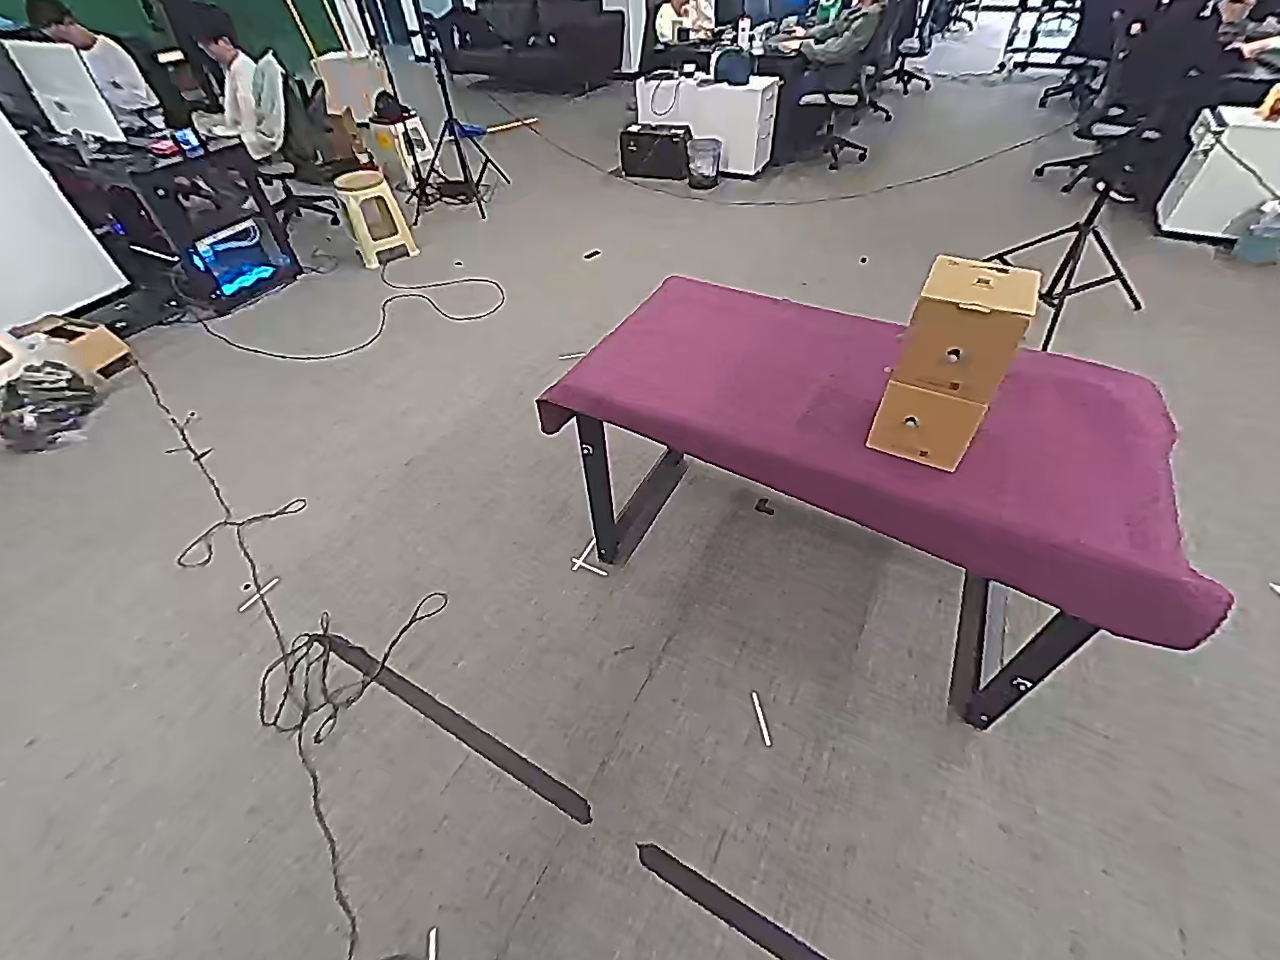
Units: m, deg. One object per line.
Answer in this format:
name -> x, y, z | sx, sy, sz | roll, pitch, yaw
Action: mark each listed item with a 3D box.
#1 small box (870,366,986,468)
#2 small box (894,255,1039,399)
small box -> 0.569, -0.151, 1.067 | 0.168, 0.176, 0.179 | 20, 50, 21
small box -> 0.566, -0.268, 0.952 | 0.168, 0.176, 0.179 | 21, 51, 22
